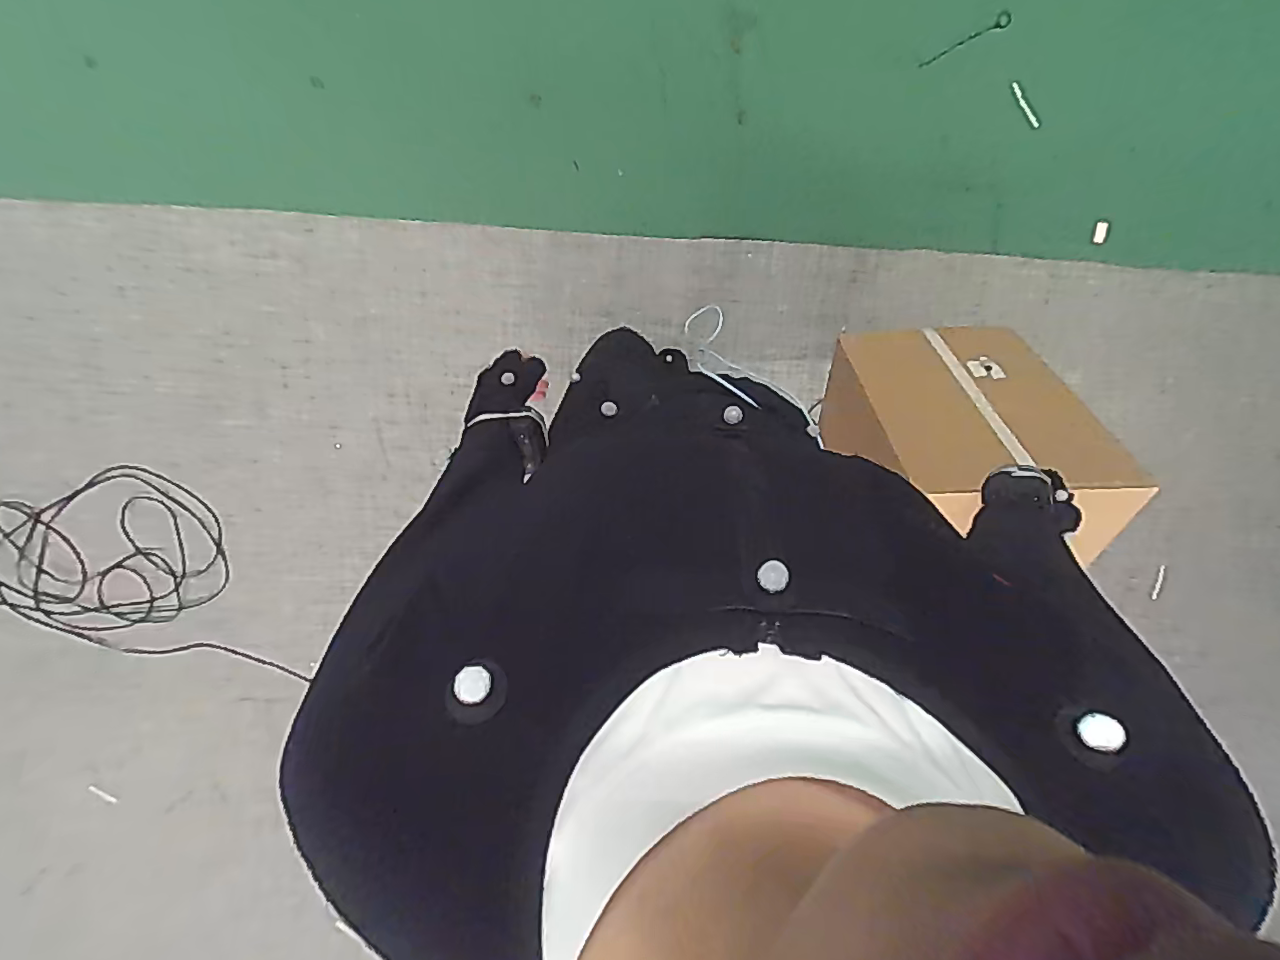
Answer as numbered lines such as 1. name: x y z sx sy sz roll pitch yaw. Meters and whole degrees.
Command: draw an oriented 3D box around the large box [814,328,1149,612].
1. large box: 0.524 -0.023 0.952 0.320 0.408 0.320 -2 135 2
